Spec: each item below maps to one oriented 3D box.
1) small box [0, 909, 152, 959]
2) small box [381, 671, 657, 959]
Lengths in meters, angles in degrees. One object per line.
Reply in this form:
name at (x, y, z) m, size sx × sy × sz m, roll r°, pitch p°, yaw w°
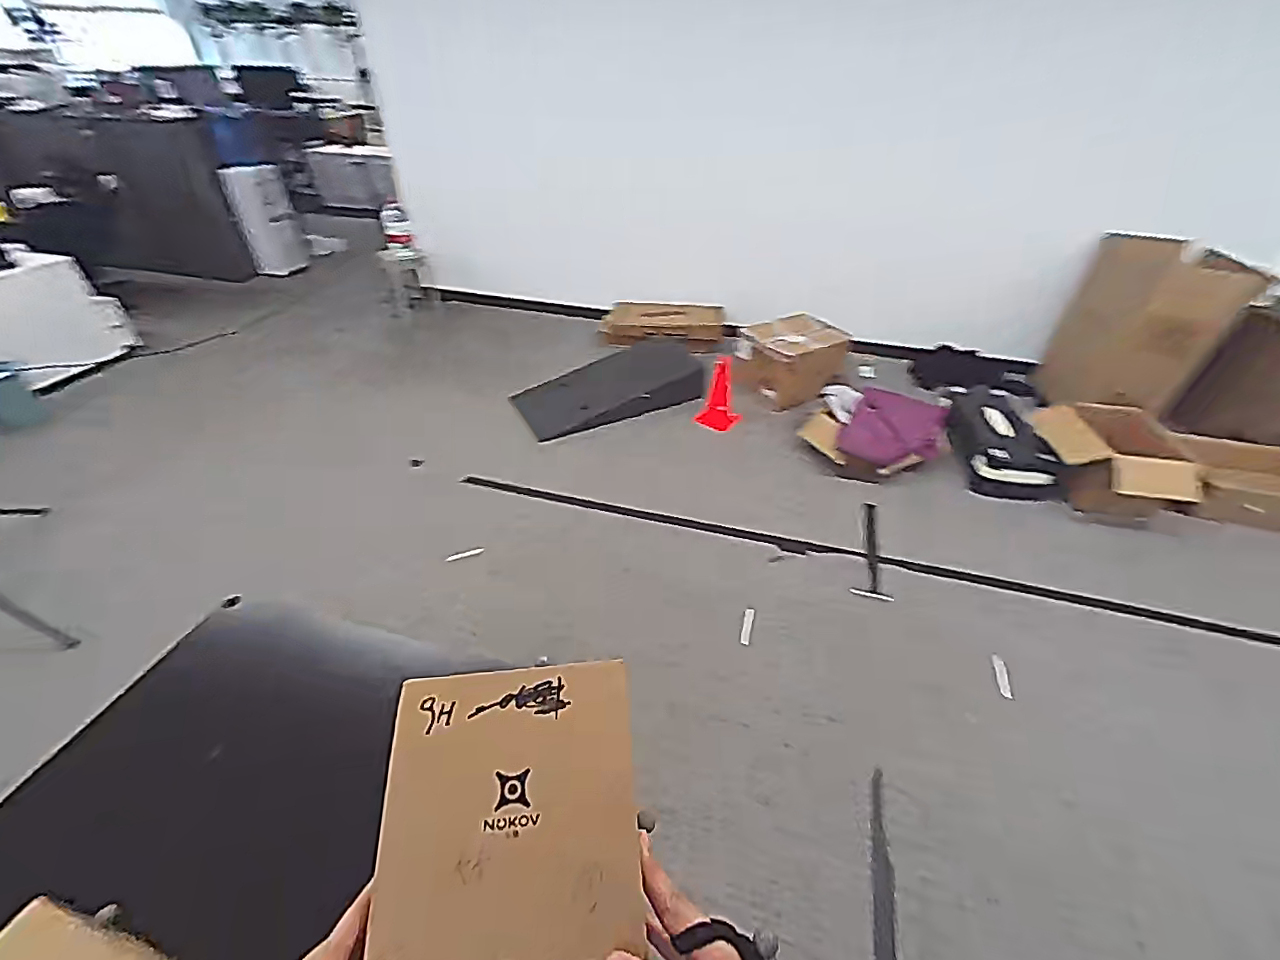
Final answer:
small box at (-0.522, 0.534, 0.481) m, size 0.179 × 0.176 × 0.168 m, roll 12°, pitch 40°, yaw 15°
small box at (-0.074, 0.262, 0.420) m, size 0.168 × 0.176 × 0.179 m, roll -4°, pitch 57°, yaw -2°
